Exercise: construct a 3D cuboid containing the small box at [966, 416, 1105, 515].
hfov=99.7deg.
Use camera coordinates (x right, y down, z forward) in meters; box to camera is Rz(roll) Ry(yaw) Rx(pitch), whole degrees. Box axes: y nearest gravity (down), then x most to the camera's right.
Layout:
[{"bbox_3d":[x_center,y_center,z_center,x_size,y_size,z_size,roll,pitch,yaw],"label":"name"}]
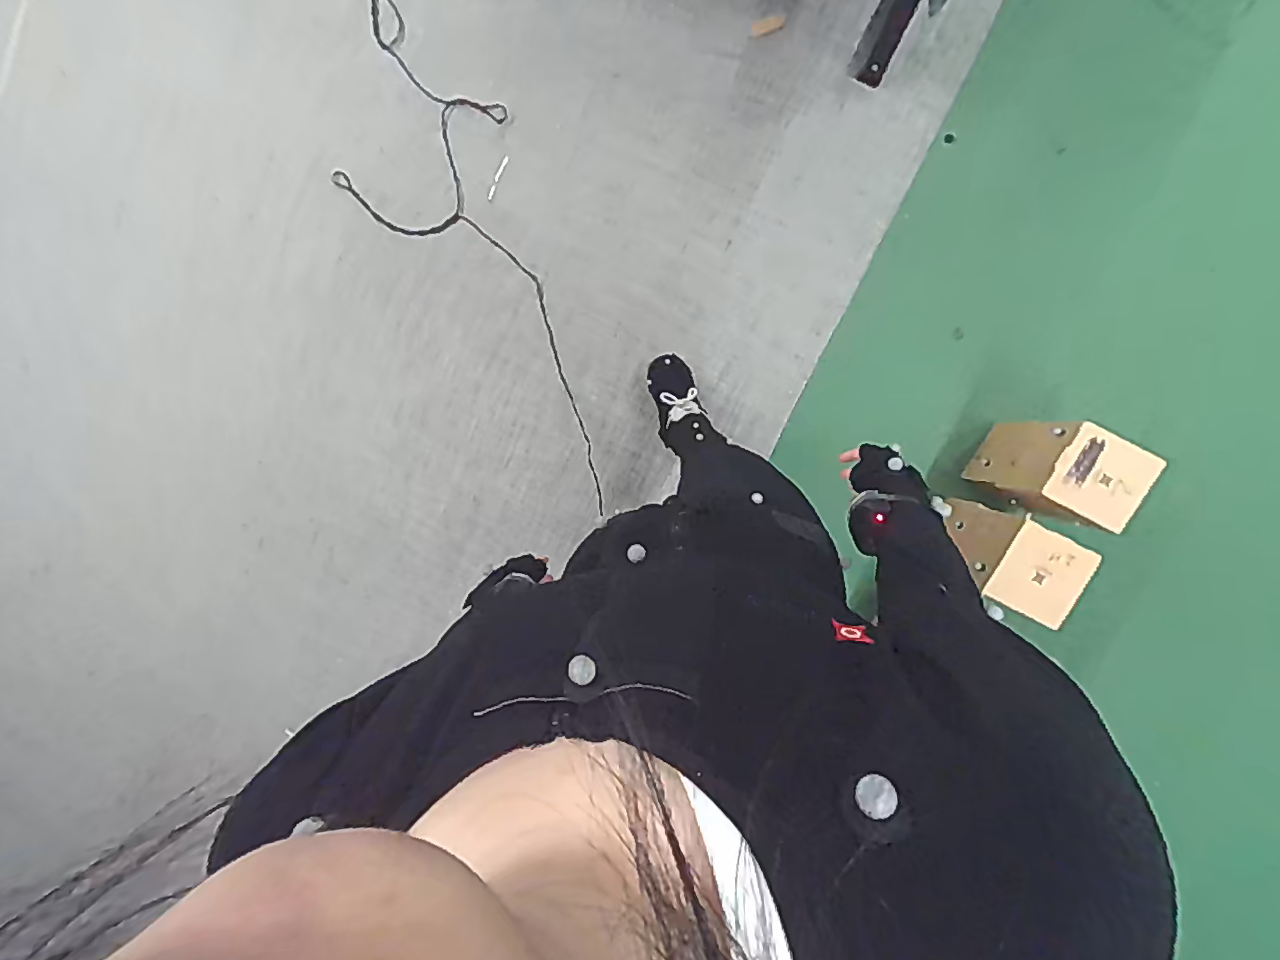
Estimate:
[{"bbox_3d":[0.935,-0.036,1.301,0.179,0.176,0.168,31,97,3],"label":"small box"}]
